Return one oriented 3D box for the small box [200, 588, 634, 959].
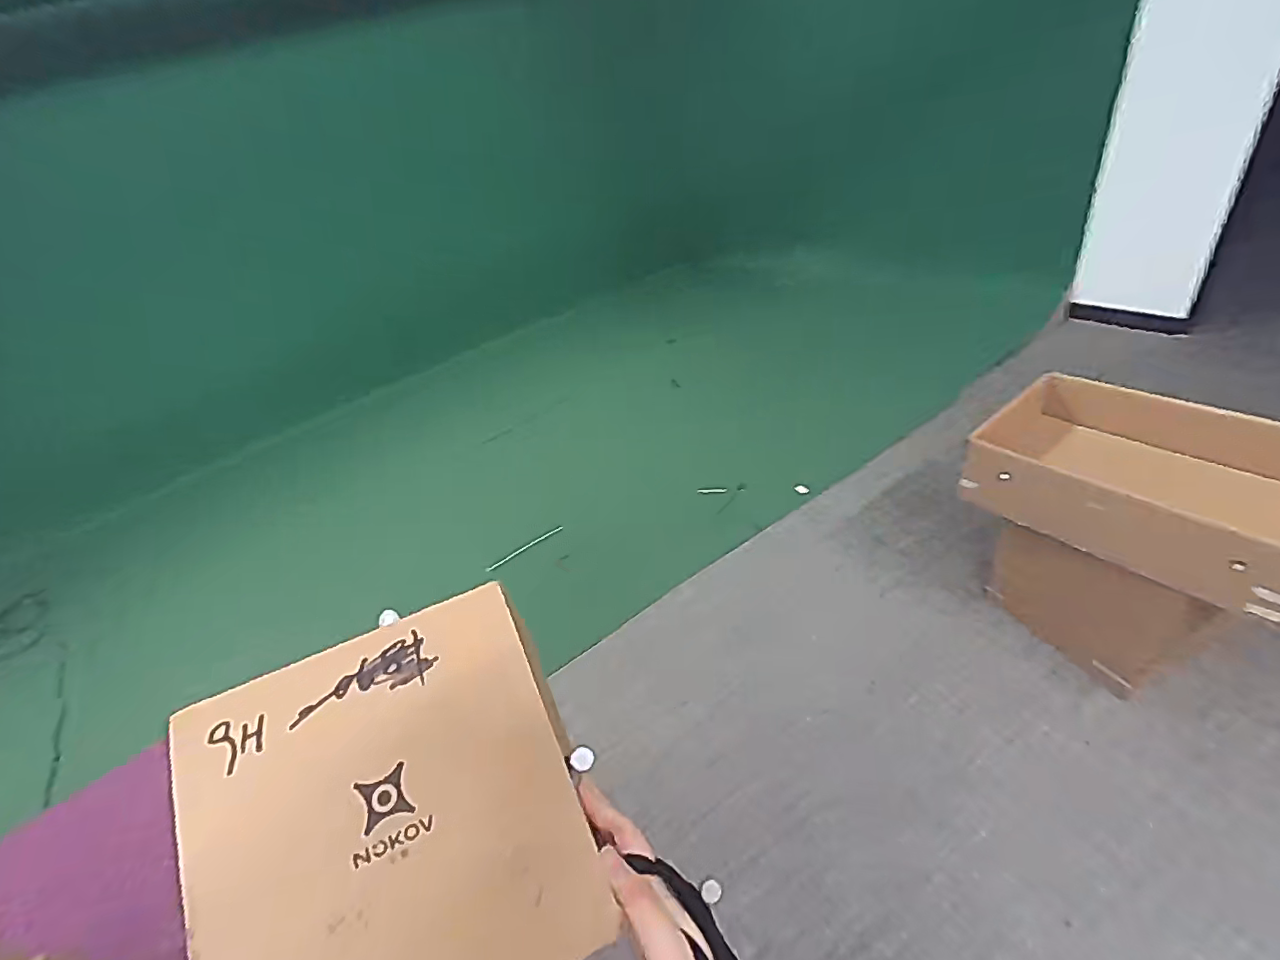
[{"bbox_3d":[-0.114,0.191,0.325,0.168,0.176,0.179,-20,68,-15],"label":"small box"}]
